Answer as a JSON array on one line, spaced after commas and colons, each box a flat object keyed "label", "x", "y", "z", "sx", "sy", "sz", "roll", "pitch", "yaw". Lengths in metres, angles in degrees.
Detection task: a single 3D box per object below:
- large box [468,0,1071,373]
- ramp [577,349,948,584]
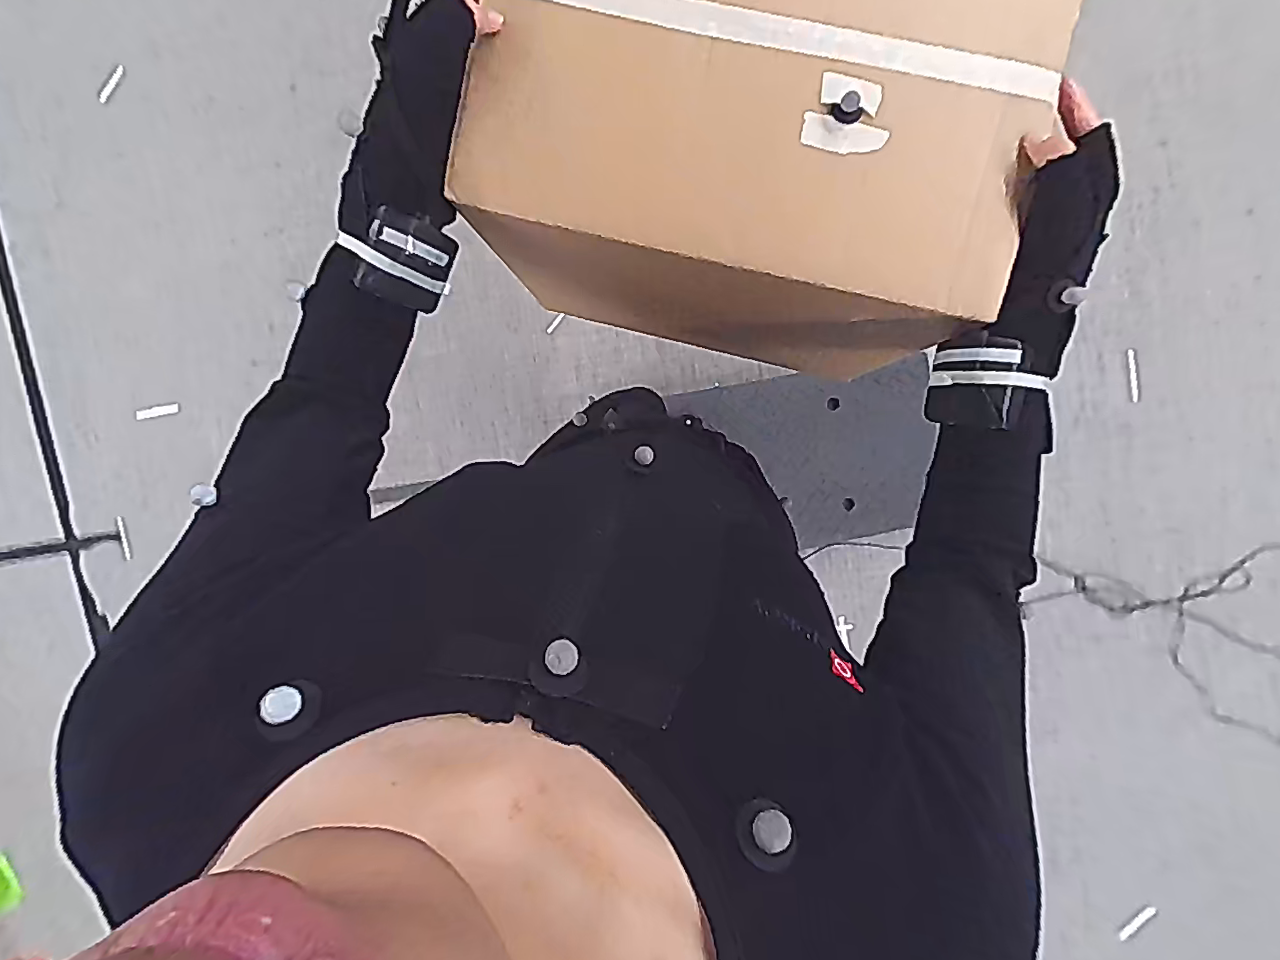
[{"label": "large box", "x": 0.100, "y": -0.321, "z": 0.541, "sx": 0.408, "sy": 0.320, "sz": 0.320, "roll": 14, "pitch": 94, "yaw": 2}, {"label": "ramp", "x": 0.356, "y": -0.046, "z": 1.513, "sx": 0.991, "sy": 0.206, "sz": 0.509, "roll": -12, "pitch": 92, "yaw": 6}]
